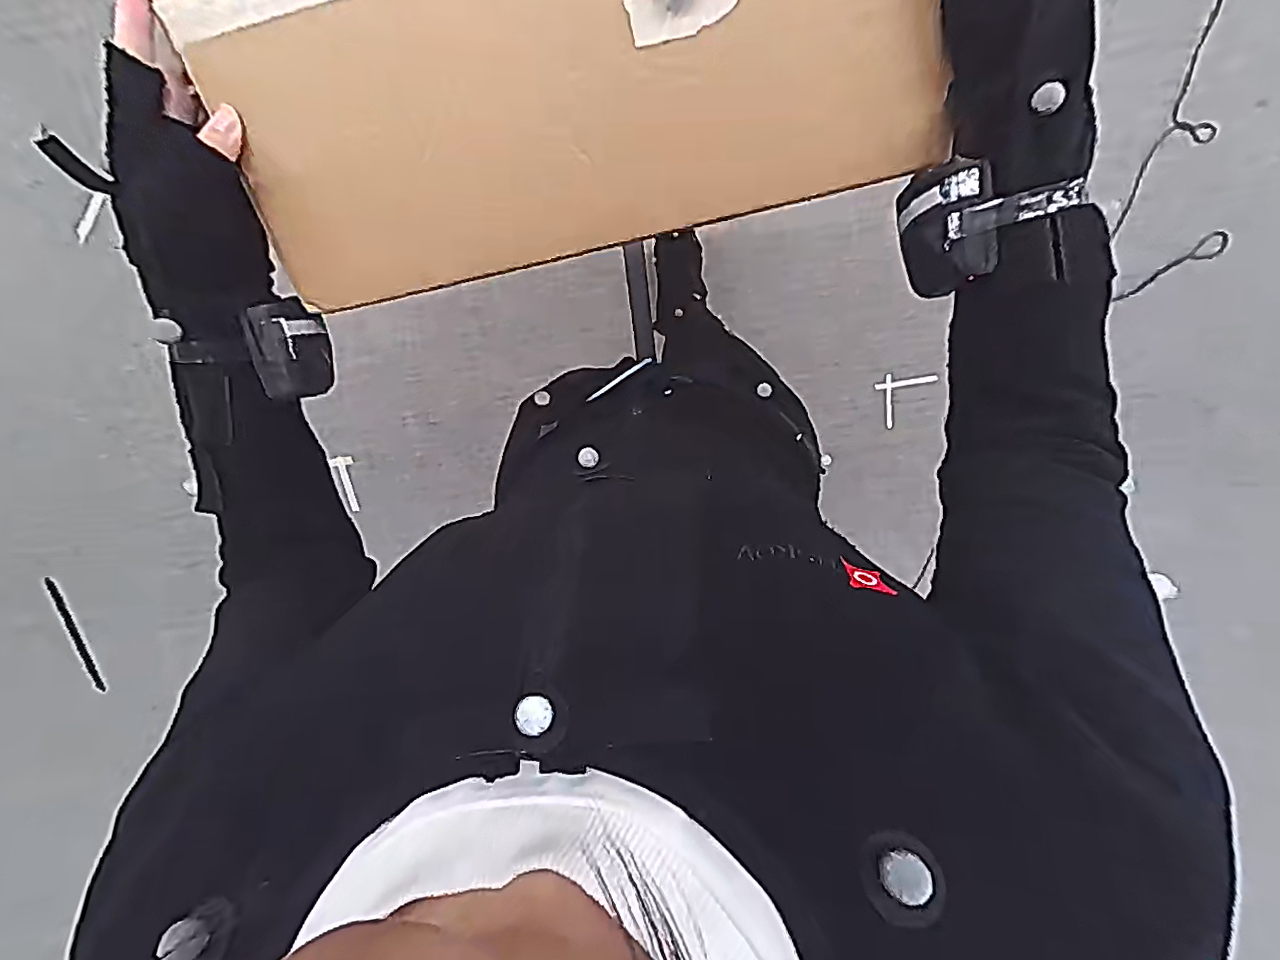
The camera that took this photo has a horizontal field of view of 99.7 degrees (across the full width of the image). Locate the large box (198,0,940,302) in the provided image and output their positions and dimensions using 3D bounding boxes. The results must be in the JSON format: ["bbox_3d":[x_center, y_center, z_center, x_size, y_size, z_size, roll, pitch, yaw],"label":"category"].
[{"bbox_3d":[-0.049,-0.357,0.415,0.408,0.320,0.320,-11,116,6],"label":"large box"}]
